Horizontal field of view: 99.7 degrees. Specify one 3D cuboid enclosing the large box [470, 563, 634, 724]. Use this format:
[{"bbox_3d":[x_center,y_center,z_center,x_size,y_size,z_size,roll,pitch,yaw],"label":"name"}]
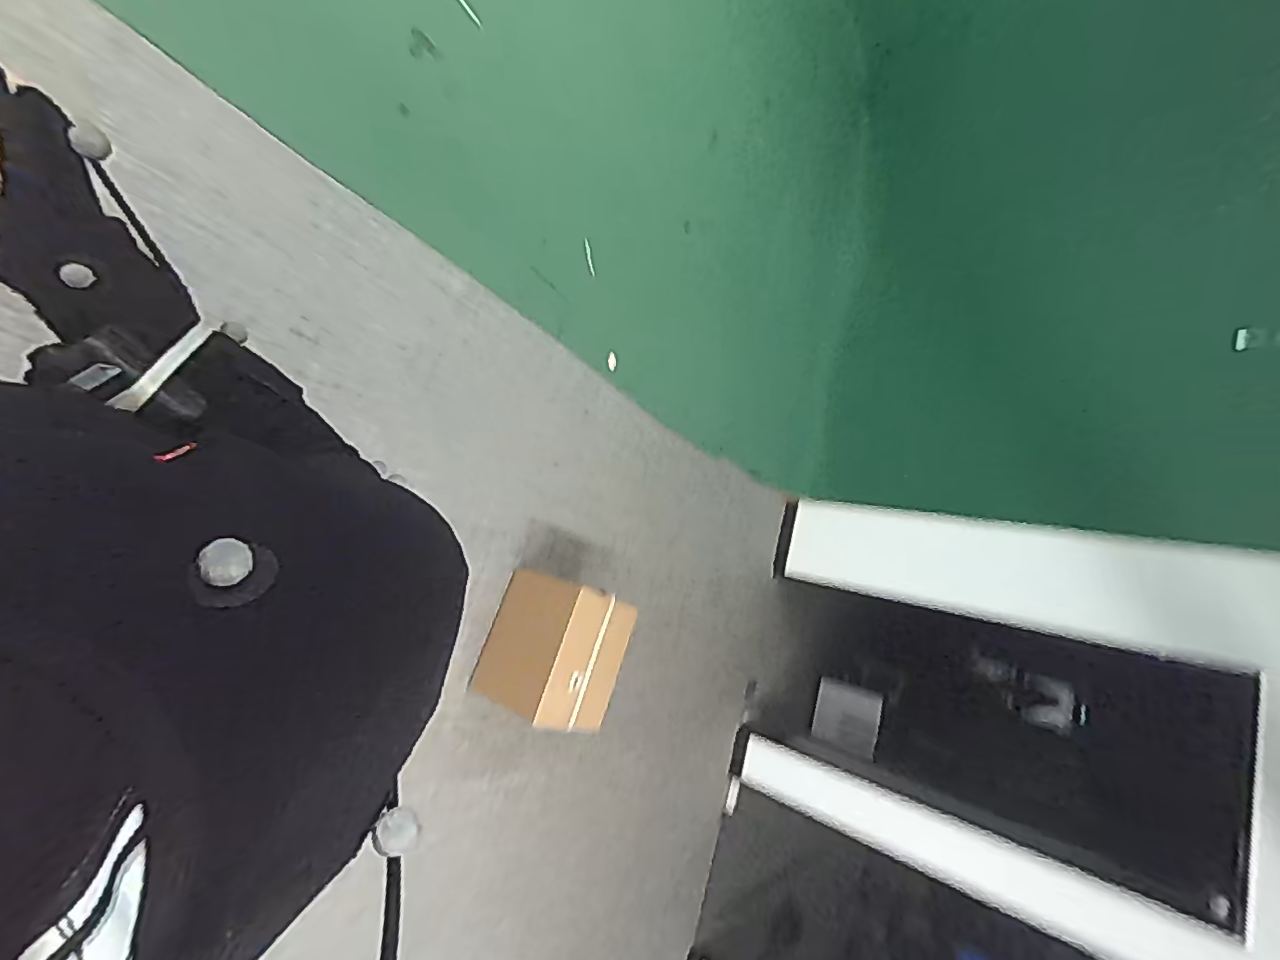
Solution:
[{"bbox_3d":[-0.277,0.524,1.753,0.320,0.320,0.408,36,69,-48],"label":"large box"}]
